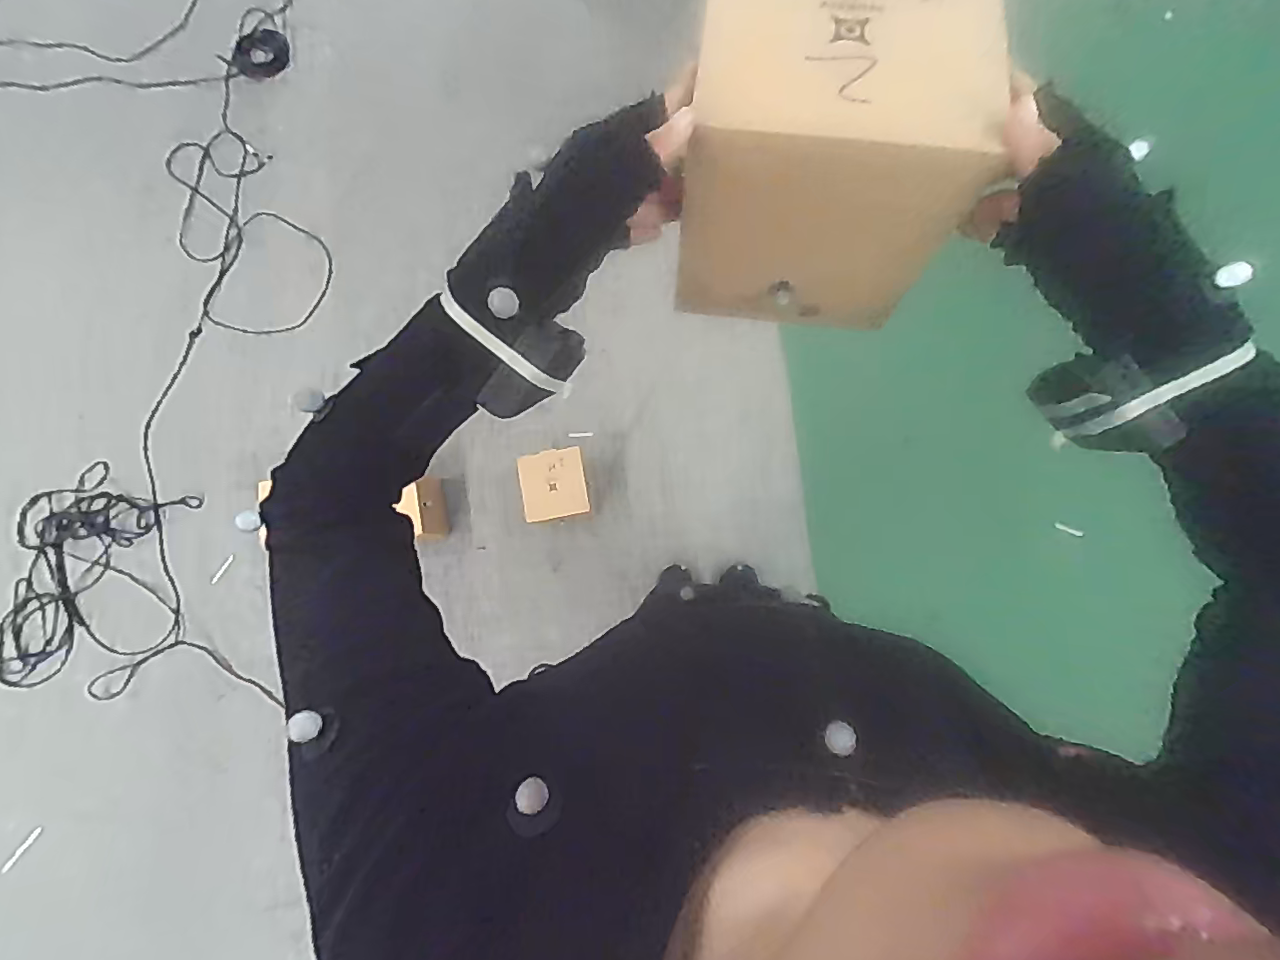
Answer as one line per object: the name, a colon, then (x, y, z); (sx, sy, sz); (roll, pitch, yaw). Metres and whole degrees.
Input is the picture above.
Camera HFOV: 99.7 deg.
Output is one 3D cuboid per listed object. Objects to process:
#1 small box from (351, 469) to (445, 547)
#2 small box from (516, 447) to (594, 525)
small box: (-0.644, 0.080, 1.453); (0.168, 0.176, 0.179); (-12, 83, 1)
small box: (-0.221, 0.023, 1.445); (0.168, 0.176, 0.179); (-11, 82, -1)
